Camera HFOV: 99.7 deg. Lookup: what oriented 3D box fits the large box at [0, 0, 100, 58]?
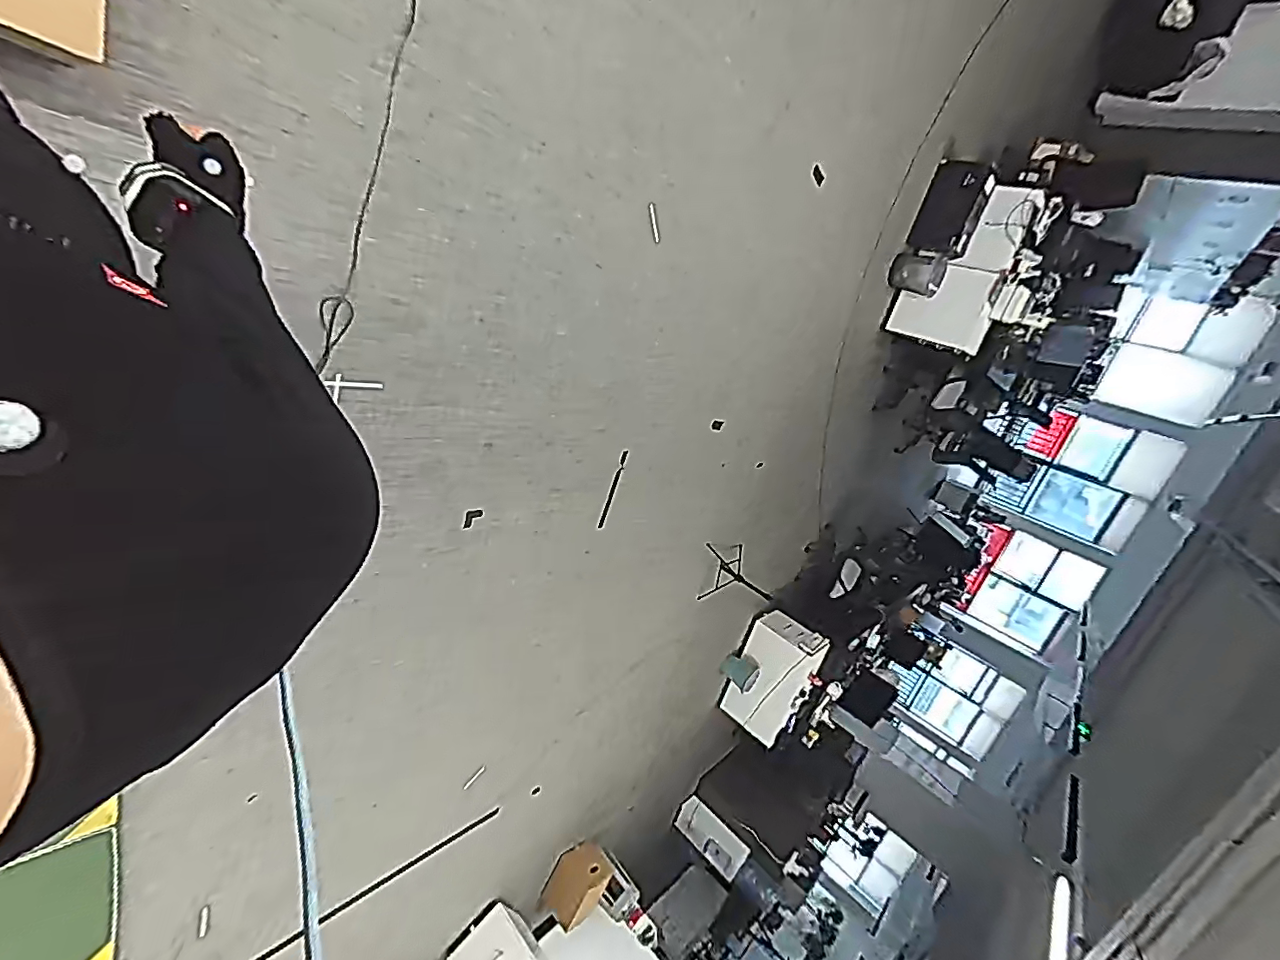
[{"bbox_3d":[-0.943,-0.777,0.635,0.408,0.320,0.320,-4,118,-51],"label":"large box"}]
